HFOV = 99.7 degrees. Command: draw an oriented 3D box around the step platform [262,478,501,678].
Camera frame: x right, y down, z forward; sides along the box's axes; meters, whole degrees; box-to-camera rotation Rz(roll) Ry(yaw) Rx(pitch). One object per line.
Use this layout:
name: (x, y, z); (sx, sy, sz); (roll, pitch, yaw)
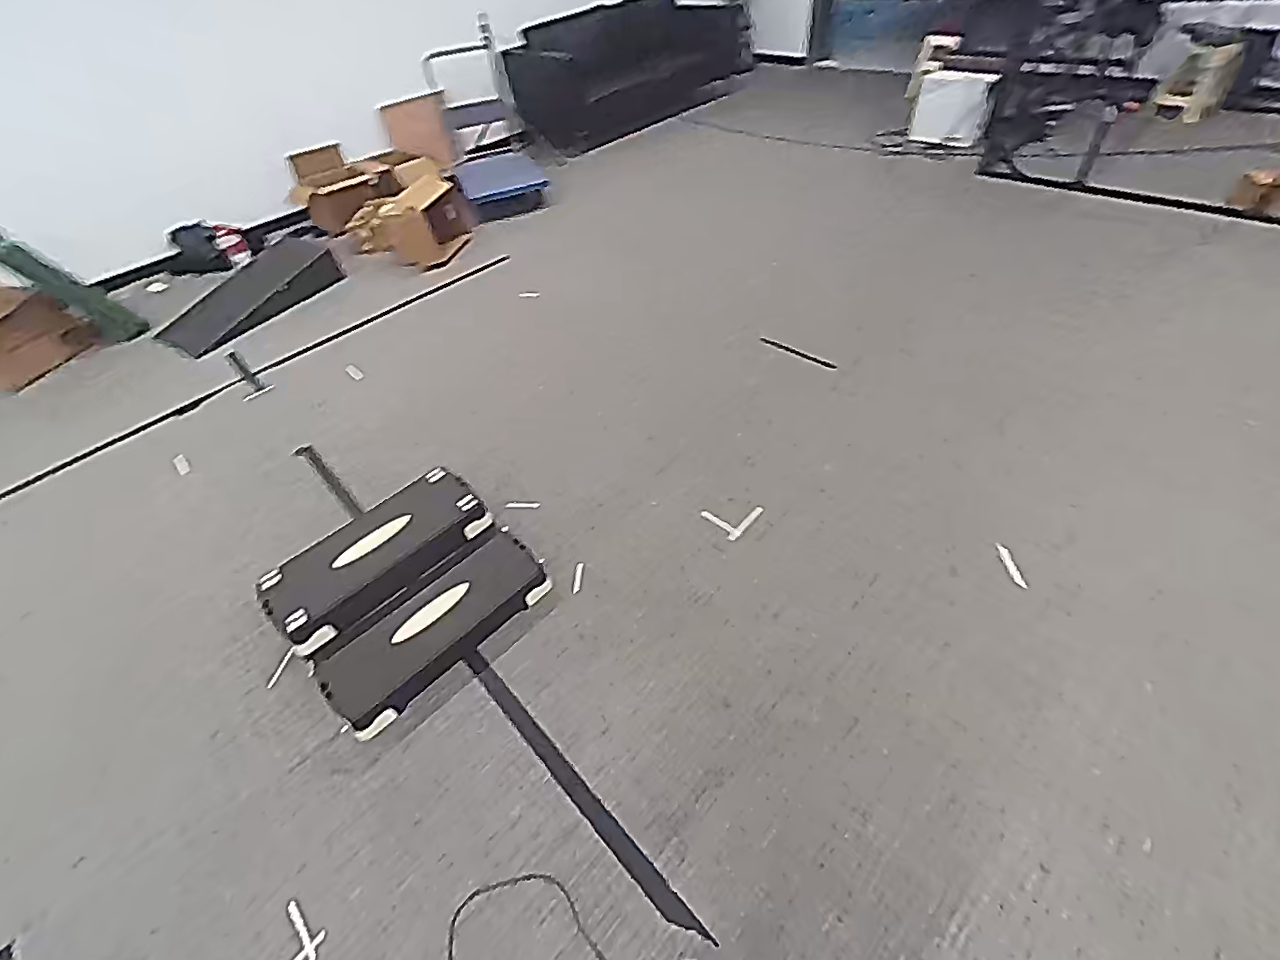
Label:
step platform: (-0.798, 0.284, 1.719); (0.286, 0.204, 0.684); (33, 58, 31)
